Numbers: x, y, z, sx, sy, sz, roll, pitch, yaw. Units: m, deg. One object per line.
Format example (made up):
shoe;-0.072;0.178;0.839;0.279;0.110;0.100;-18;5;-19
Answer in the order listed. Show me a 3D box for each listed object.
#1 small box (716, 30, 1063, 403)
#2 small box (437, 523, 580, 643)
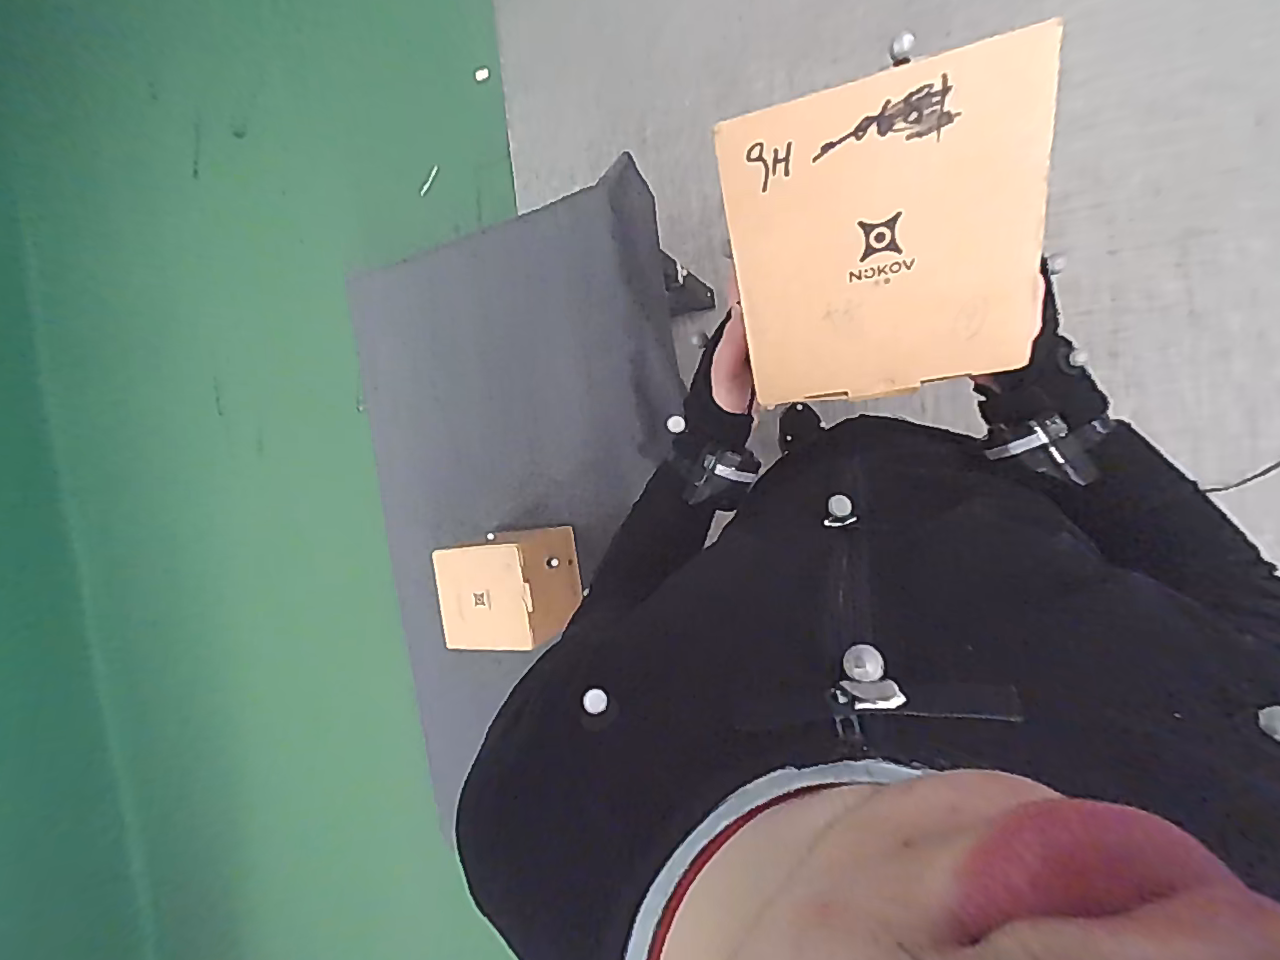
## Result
small box;0.154;-0.178;0.381;0.168;0.176;0.179;-7;123;16
small box;-0.217;0.172;0.939;0.179;0.176;0.168;-7;92;24
